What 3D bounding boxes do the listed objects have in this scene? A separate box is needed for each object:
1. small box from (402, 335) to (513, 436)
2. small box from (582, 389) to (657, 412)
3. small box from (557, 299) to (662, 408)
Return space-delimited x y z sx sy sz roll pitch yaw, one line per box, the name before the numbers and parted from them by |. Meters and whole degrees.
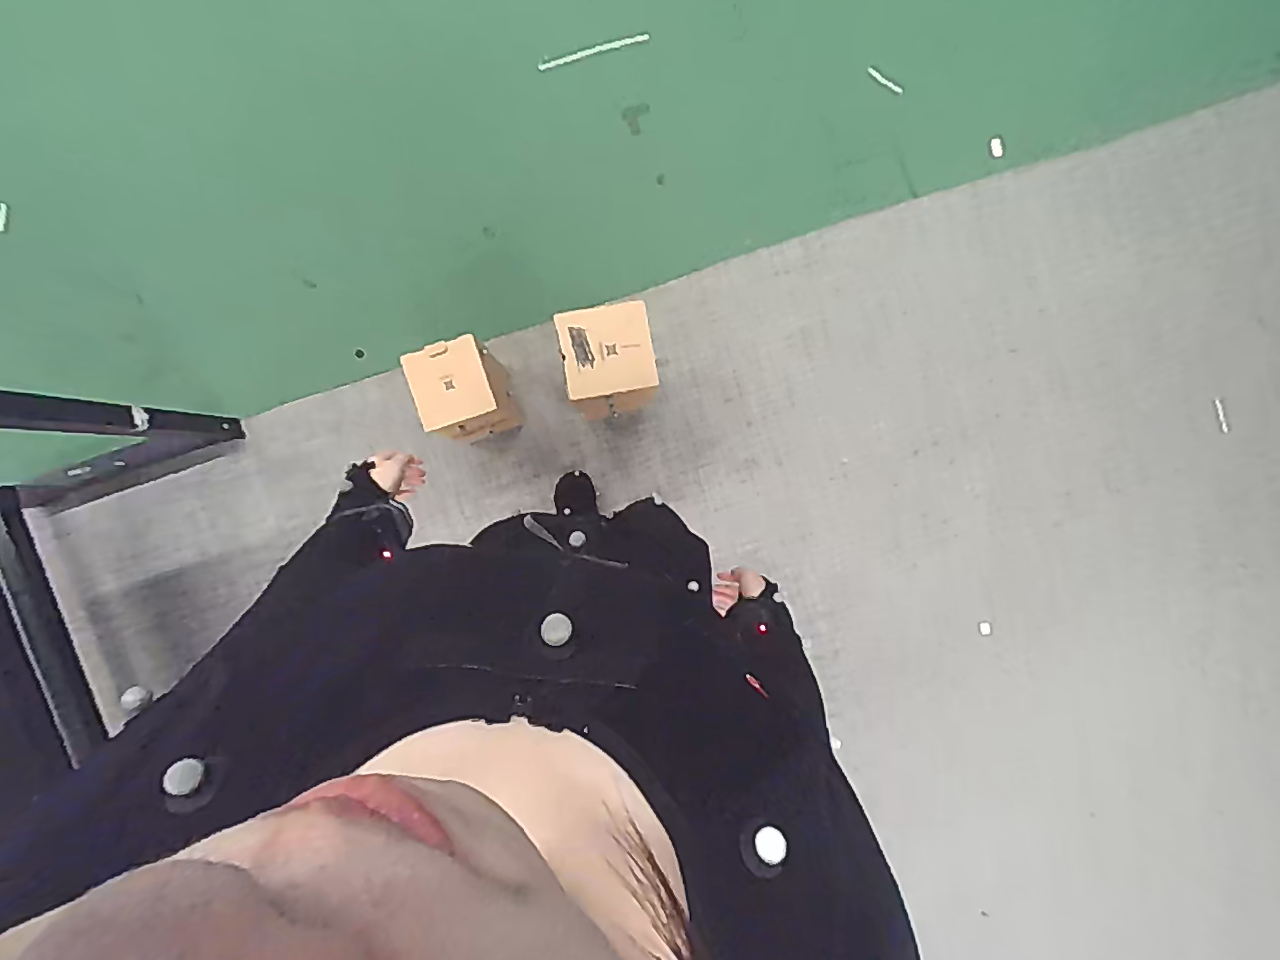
small box | -0.406 -0.206 1.233 0.168 0.176 0.179 -19 91 -1
small box | -0.061 -0.252 1.245 0.179 0.176 0.168 -8 93 -3
small box | -0.059 -0.244 1.081 0.179 0.176 0.168 -10 93 -3
